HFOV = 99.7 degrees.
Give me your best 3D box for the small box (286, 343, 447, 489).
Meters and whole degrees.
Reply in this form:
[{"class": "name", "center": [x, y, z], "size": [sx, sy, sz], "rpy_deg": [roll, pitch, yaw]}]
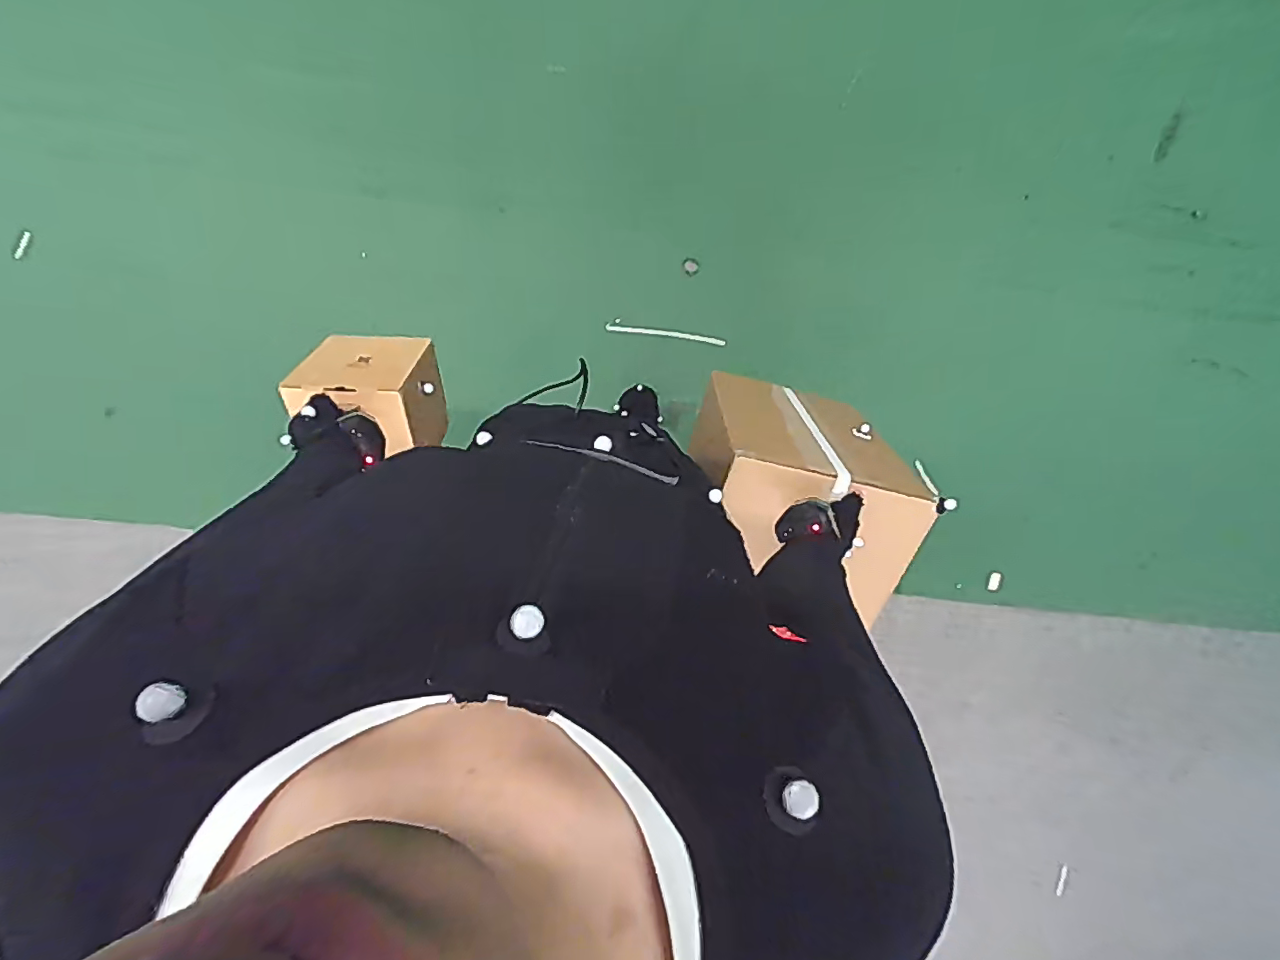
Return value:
[{"class": "small box", "center": [-0.422, -0.105, 0.873], "size": [0.168, 0.179, 0.176], "rpy_deg": [0, 129, -3]}]
